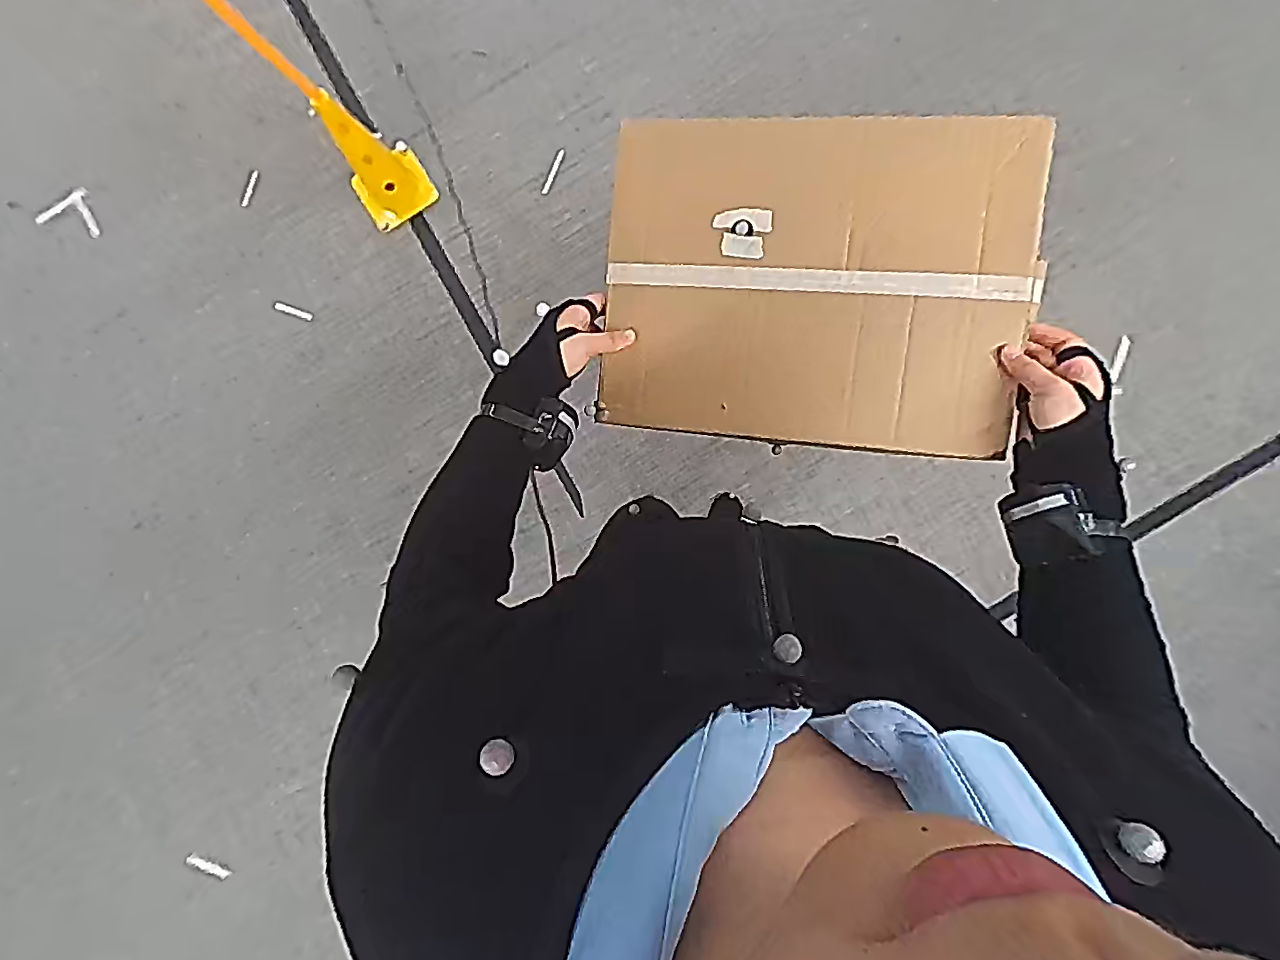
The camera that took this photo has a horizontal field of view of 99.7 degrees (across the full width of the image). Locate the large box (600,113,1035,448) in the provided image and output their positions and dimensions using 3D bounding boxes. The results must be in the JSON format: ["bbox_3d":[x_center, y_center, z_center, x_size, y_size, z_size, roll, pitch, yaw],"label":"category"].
[{"bbox_3d":[0.192,-0.209,0.689,0.408,0.320,0.320,6,94,12],"label":"large box"}]
